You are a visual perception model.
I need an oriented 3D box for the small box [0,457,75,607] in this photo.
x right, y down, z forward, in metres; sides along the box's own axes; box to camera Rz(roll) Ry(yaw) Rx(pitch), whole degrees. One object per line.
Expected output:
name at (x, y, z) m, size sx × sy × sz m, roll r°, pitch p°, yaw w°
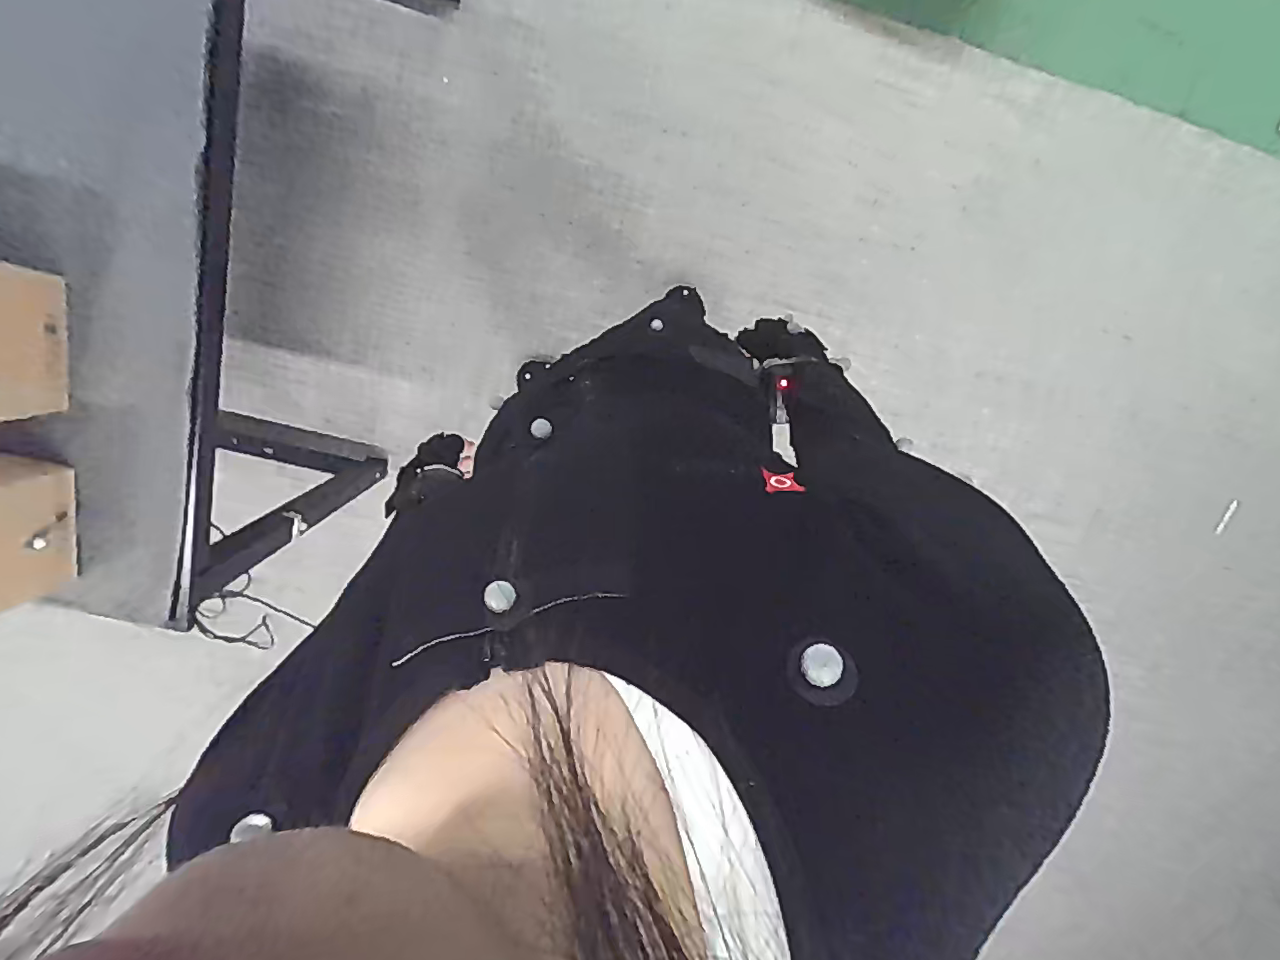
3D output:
small box at (-0.835, 0.066, 0.633) m, size 0.179 × 0.176 × 0.168 m, roll 12°, pitch 104°, yaw -5°
